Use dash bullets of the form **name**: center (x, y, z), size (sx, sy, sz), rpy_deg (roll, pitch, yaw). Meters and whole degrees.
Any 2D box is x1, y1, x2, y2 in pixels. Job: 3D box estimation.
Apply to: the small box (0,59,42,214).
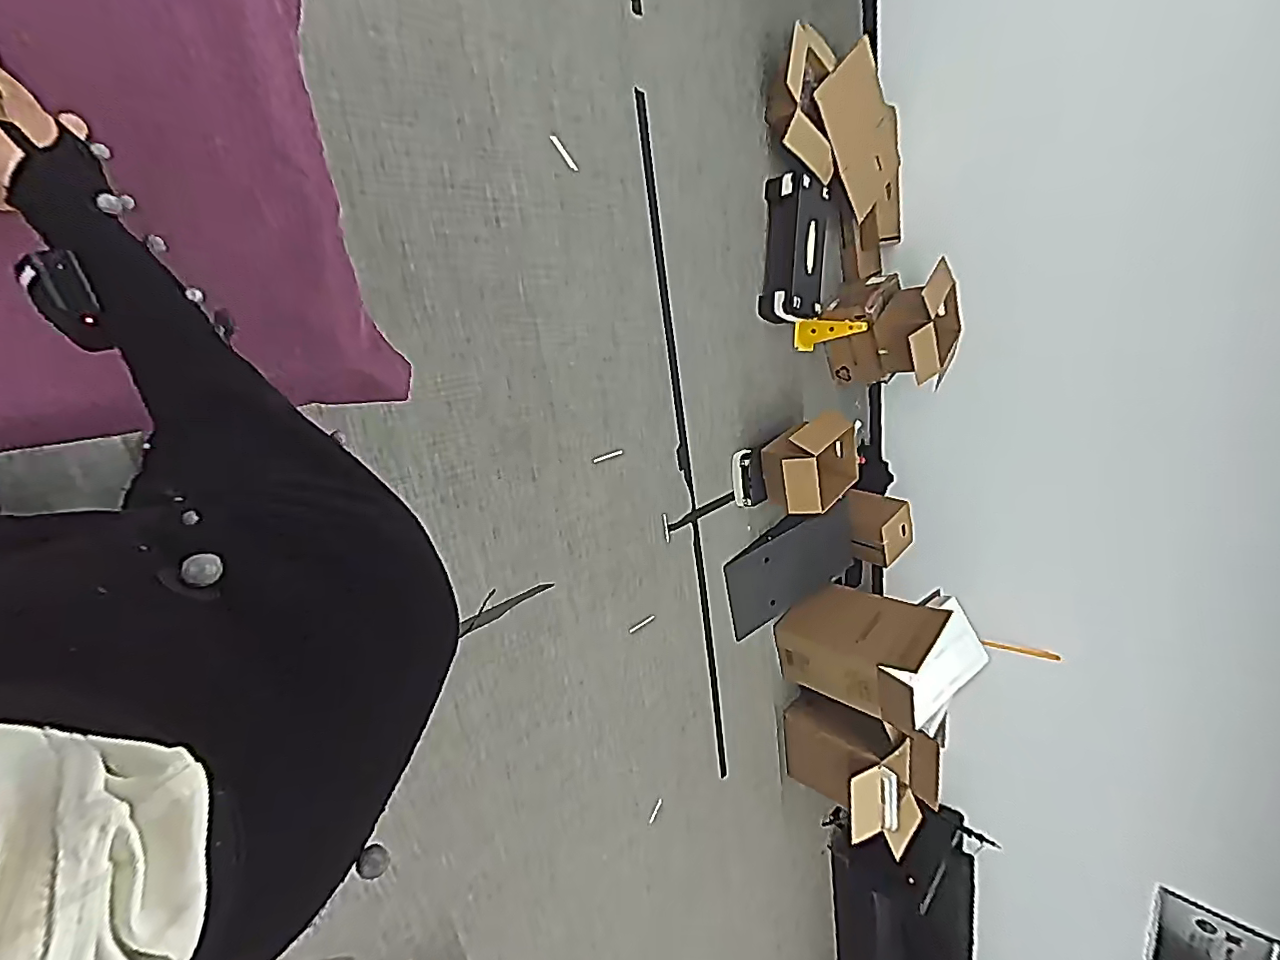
- **small box**: center (-0.669, -0.343, 0.461), size (0.179, 0.176, 0.168), rpy_deg (-16, 105, -41)
